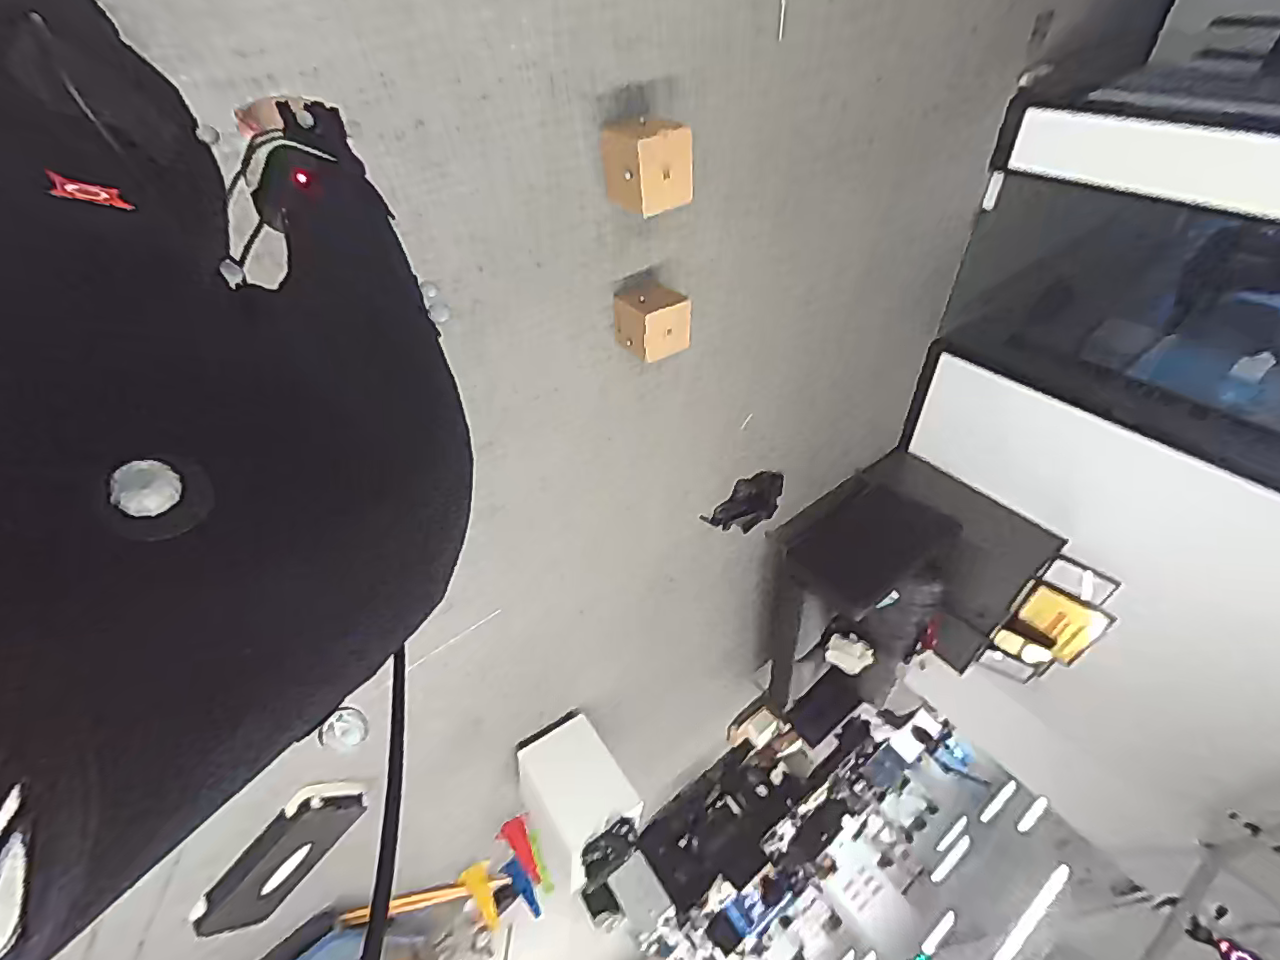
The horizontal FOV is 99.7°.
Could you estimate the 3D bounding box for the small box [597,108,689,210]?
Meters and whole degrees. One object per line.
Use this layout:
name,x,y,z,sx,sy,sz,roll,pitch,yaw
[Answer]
small box,0.008,-0.821,1.377,0.168,0.176,0.179,-30,140,-21

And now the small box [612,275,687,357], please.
small box,0.023,-0.513,1.678,0.179,0.176,0.168,-28,141,-25
